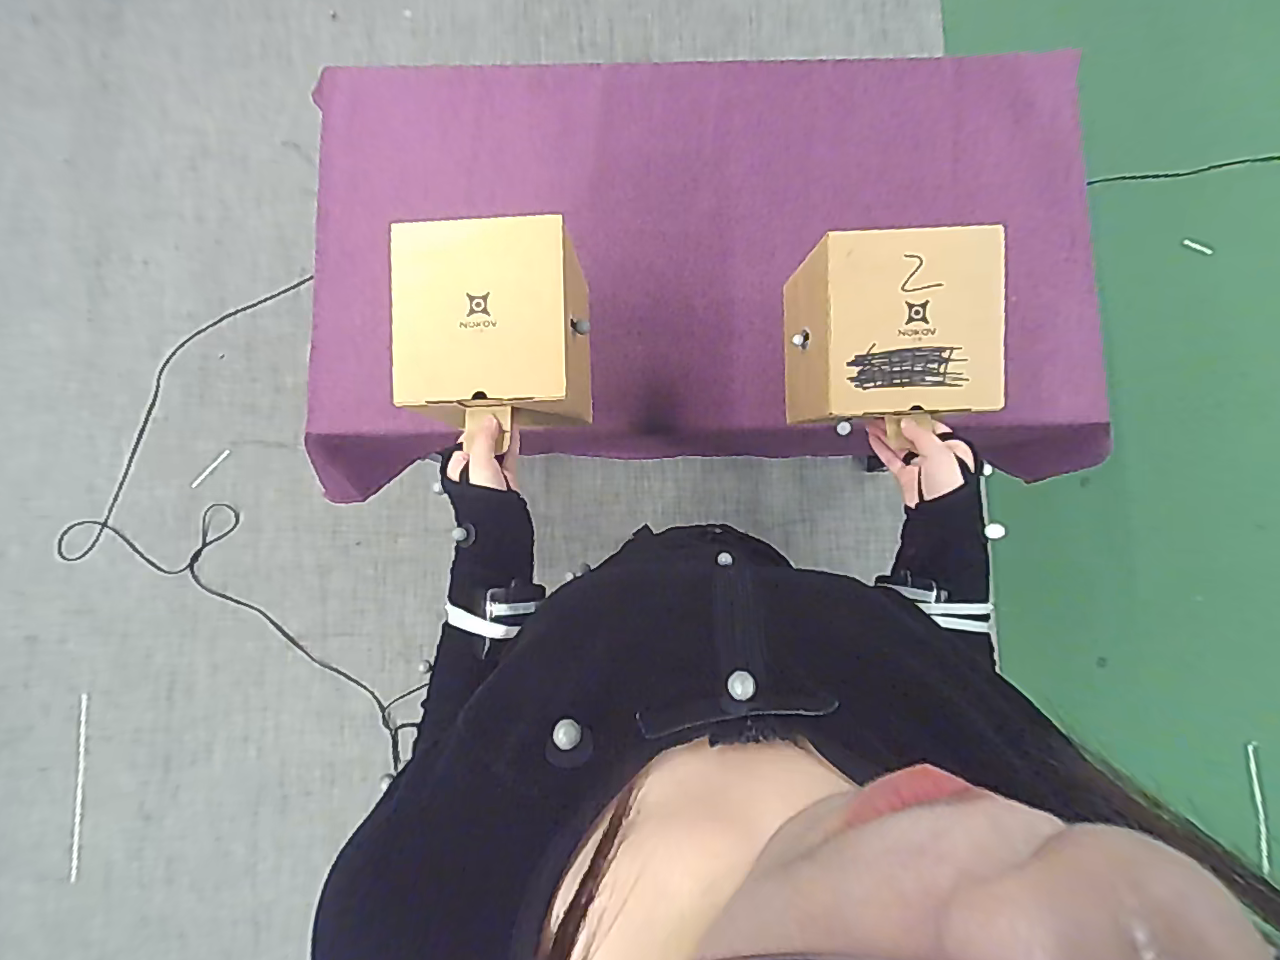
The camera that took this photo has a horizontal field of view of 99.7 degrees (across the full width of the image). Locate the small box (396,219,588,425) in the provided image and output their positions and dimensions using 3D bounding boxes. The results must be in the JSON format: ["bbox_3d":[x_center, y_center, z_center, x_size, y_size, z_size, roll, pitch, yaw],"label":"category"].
[{"bbox_3d":[-0.151,-0.161,0.600,0.168,0.176,0.179,-2,88,3],"label":"small box"}]
